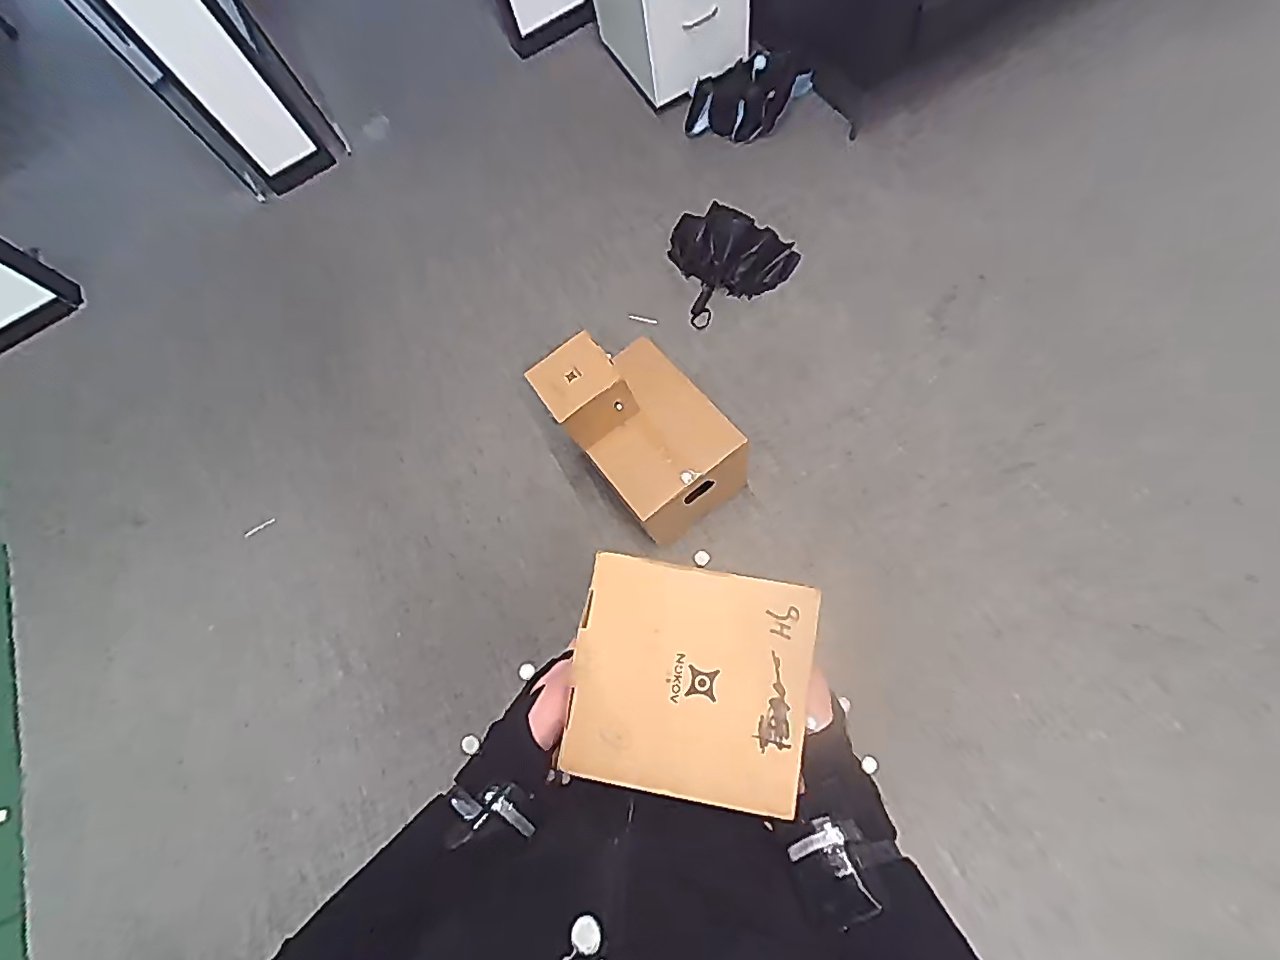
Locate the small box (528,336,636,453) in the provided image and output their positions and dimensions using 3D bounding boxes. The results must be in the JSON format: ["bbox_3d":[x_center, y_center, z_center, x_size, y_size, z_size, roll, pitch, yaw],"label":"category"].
[{"bbox_3d":[-0.127,-0.195,1.273,0.179,0.176,0.168,-38,66,0],"label":"small box"}]
